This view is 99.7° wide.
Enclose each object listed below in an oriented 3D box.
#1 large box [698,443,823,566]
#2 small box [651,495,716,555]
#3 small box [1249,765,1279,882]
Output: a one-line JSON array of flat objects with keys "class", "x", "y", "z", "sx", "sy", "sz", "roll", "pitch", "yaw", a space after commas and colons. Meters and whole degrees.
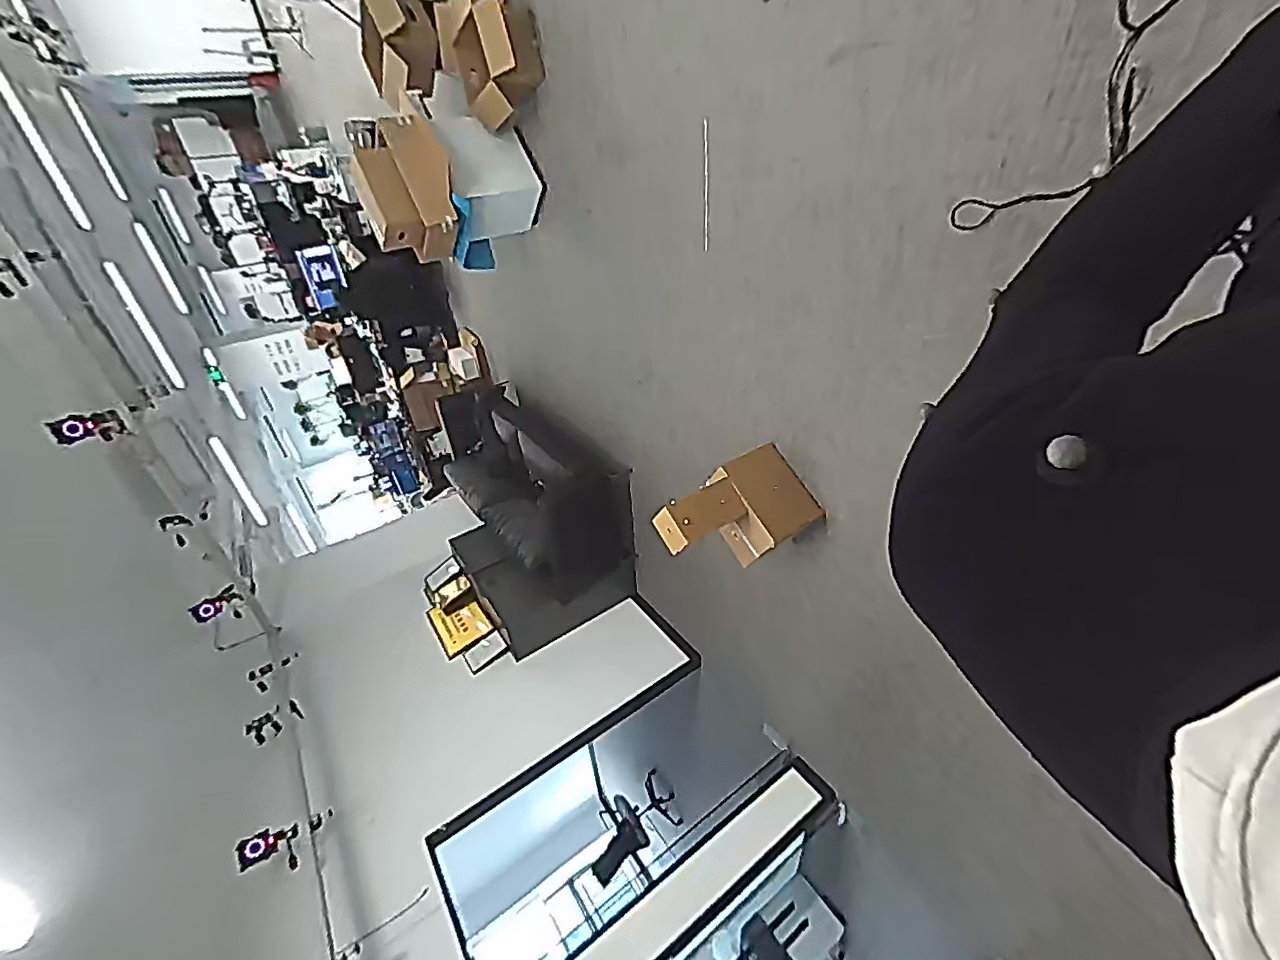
[{"class": "large box", "x": 0.533, "y": 0.108, "z": 2.451, "sx": 0.408, "sy": 0.320, "sz": 0.320, "roll": 56, "pitch": 153, "yaw": 16}, {"class": "small box", "x": 0.181, "y": 0.180, "z": 2.236, "sx": 0.179, "sy": 0.176, "sz": 0.168, "roll": 57, "pitch": 151, "yaw": 13}, {"class": "small box", "x": 1.282, "y": 0.653, "z": 0.989, "sx": 0.179, "sy": 0.176, "sz": 0.168, "roll": -7, "pitch": 106, "yaw": 62}]
